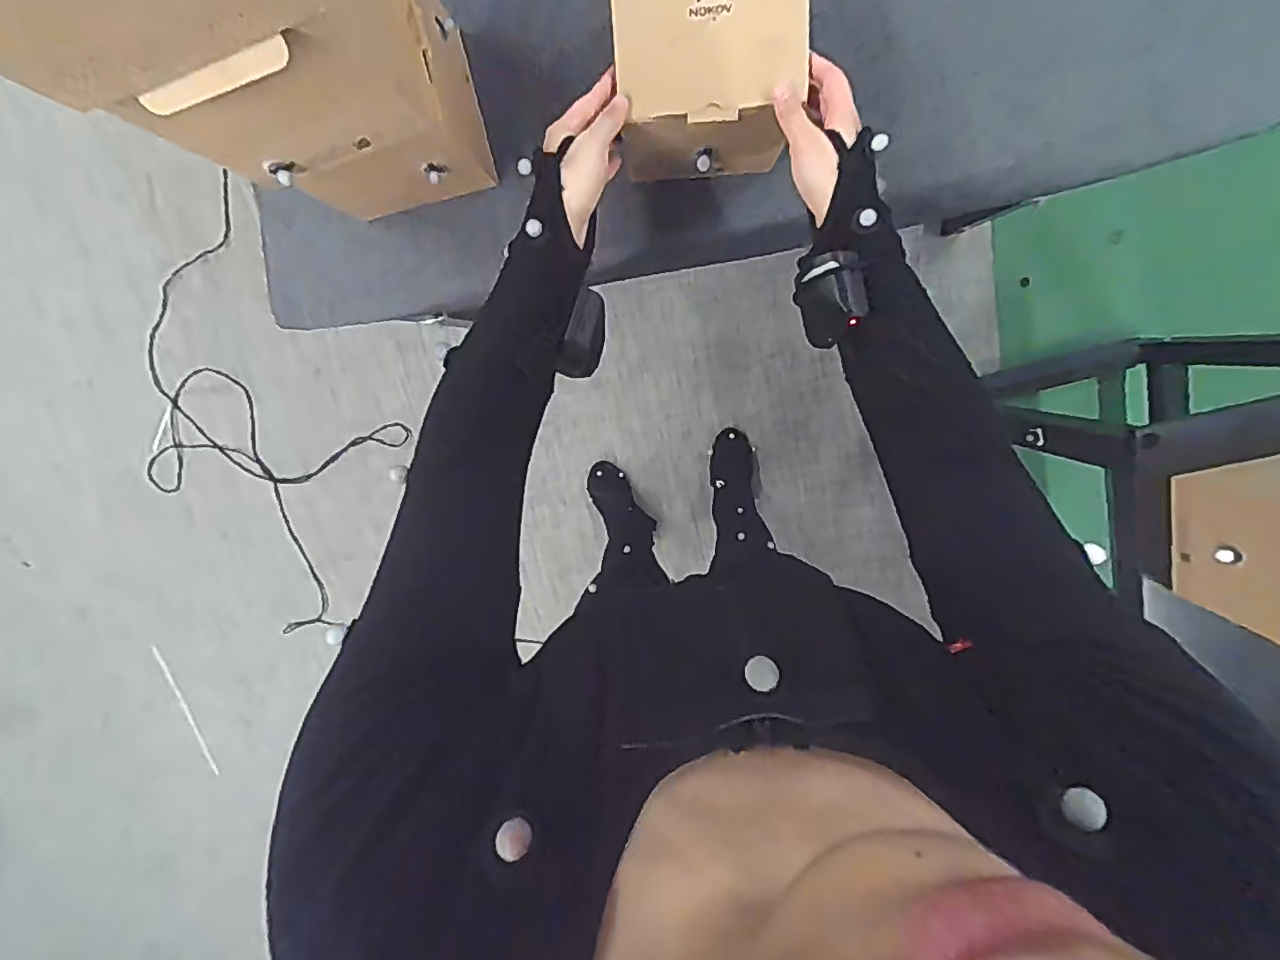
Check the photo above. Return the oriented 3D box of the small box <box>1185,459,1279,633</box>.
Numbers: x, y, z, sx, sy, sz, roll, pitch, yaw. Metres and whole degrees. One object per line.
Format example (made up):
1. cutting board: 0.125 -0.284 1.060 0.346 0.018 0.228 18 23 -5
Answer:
1. small box: 0.766 0.074 0.600 0.179 0.176 0.168 -13 103 6

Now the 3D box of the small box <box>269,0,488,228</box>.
1. small box: -0.273 -0.383 0.557 0.179 0.176 0.168 -13 100 7

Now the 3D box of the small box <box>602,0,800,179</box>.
1. small box: 0.057 -0.411 0.528 0.168 0.176 0.179 -3 103 5

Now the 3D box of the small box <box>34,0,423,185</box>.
1. small box: -0.291 -0.346 0.397 0.168 0.176 0.179 -17 99 6
